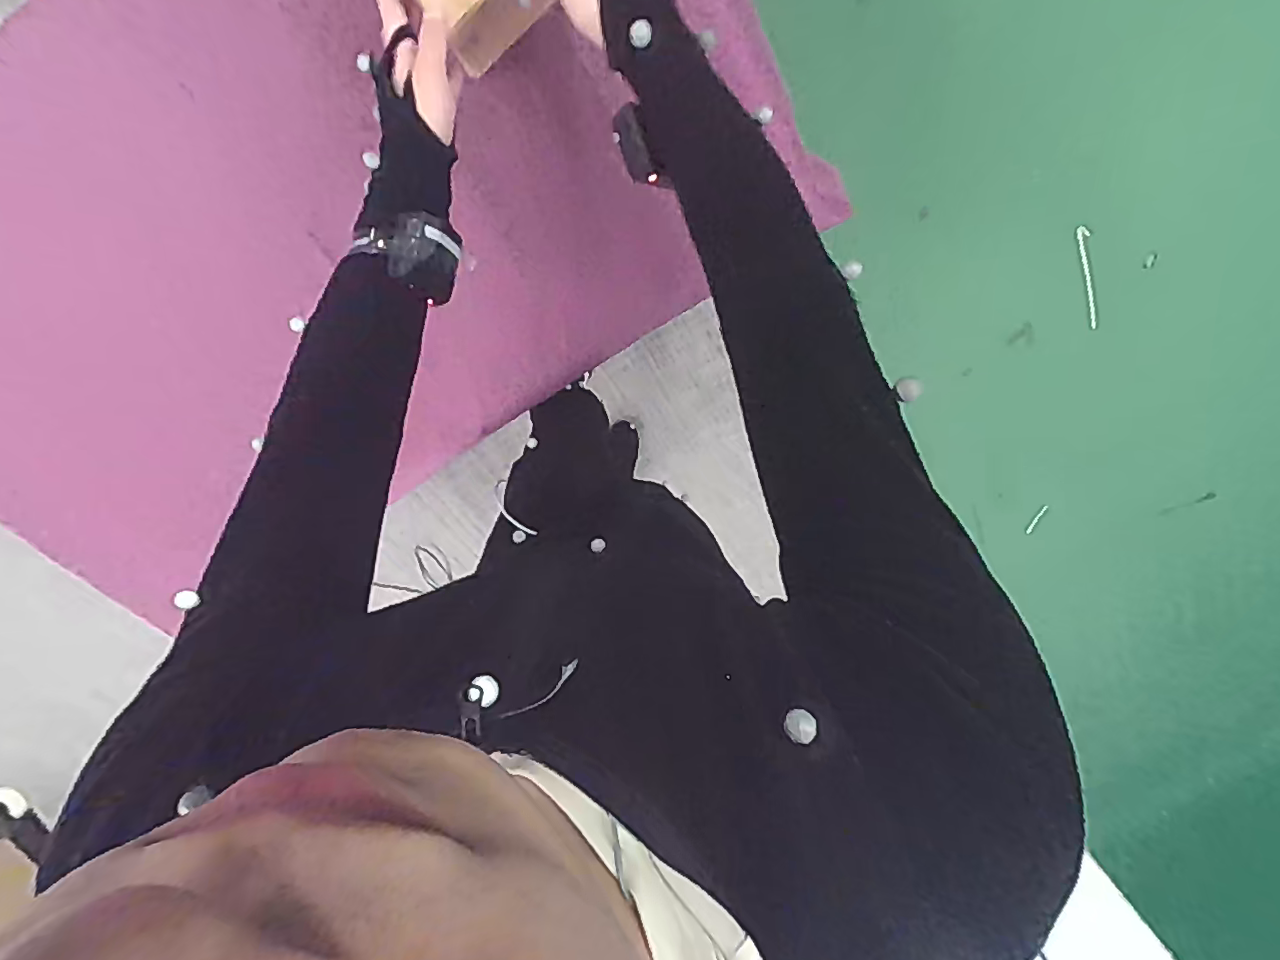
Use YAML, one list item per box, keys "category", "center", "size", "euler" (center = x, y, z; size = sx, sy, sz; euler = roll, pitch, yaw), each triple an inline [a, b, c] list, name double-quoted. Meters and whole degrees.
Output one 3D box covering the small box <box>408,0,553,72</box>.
- category: "small box"
  center: [-0.159, -0.517, 0.484]
  size: [0.179, 0.176, 0.168]
  euler: [-36, 116, 13]
